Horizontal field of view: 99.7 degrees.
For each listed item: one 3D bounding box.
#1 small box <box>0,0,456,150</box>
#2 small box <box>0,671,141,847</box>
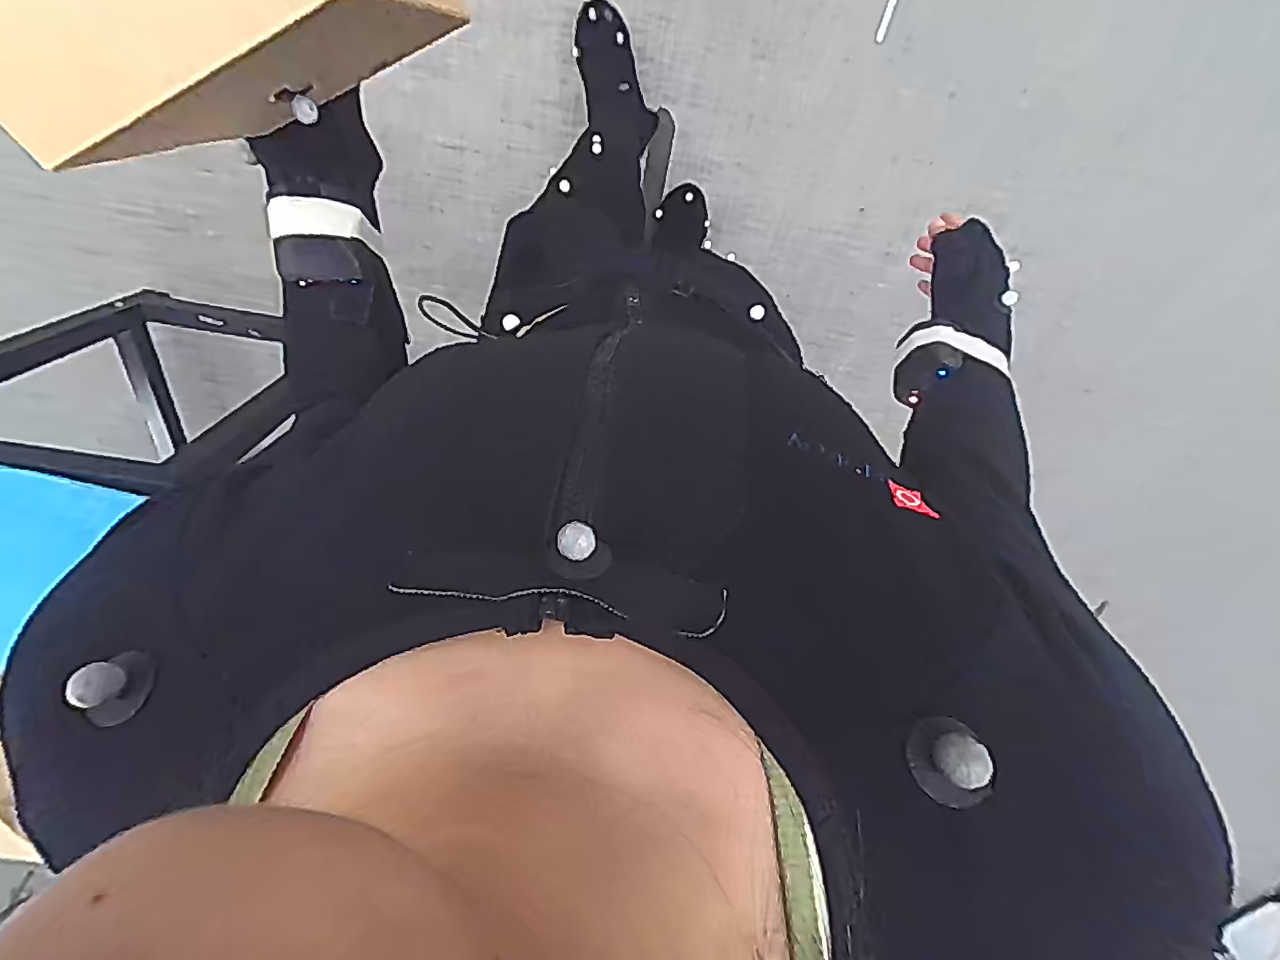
[{"bbox_3d":[-0.207,-0.277,0.231,0.168,0.176,0.179,-17,125,12],"label":"small box"},{"bbox_3d":[-0.911,0.411,0.794,0.168,0.176,0.179,12,127,-4],"label":"small box"}]
